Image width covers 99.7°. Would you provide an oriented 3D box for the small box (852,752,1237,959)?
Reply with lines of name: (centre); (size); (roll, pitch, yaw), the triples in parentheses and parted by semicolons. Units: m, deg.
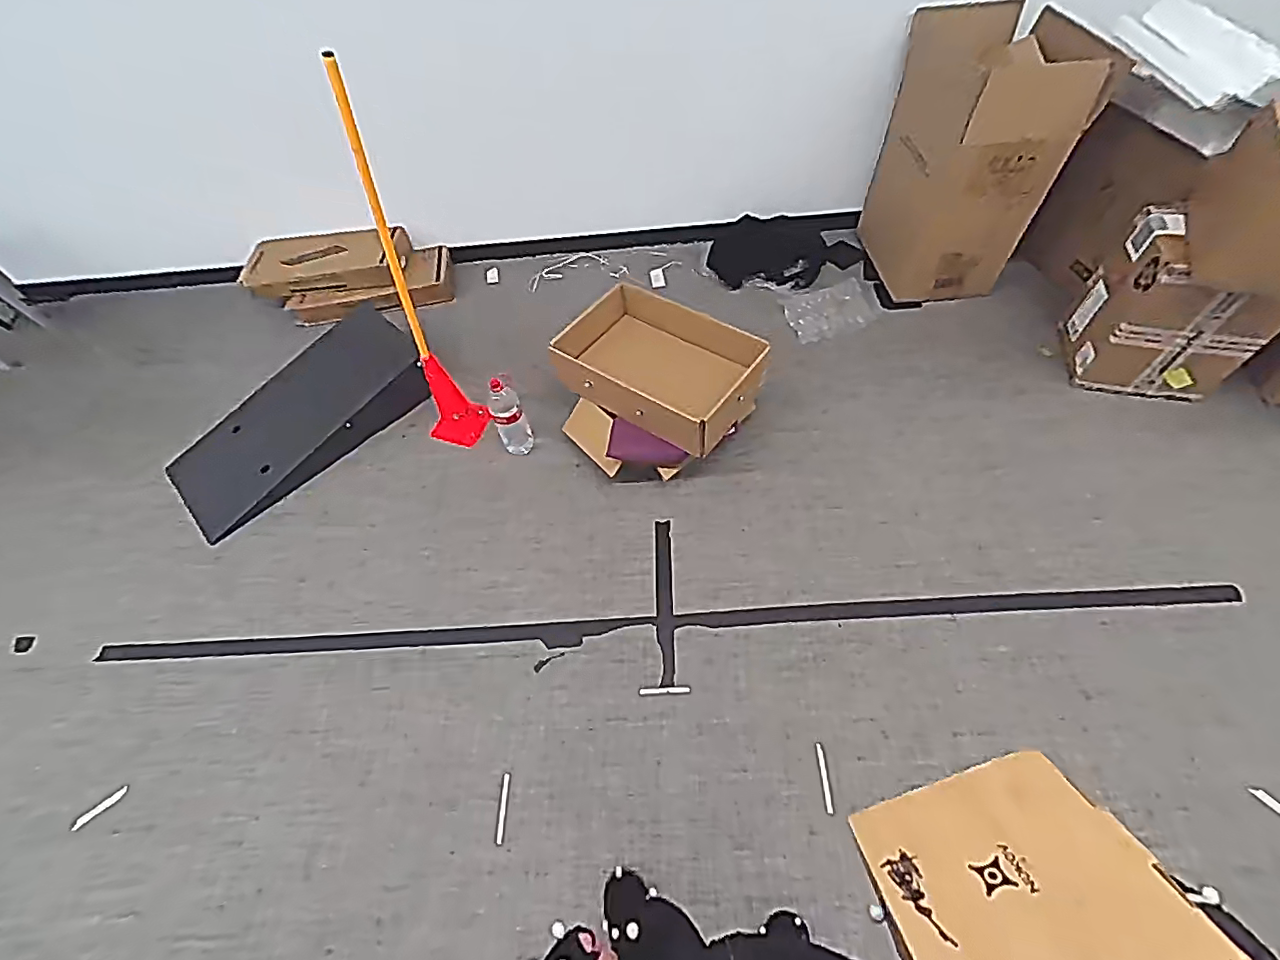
small box: (0.300, 0.361, 0.421); (0.179, 0.176, 0.168); (-22, 14, 4)
